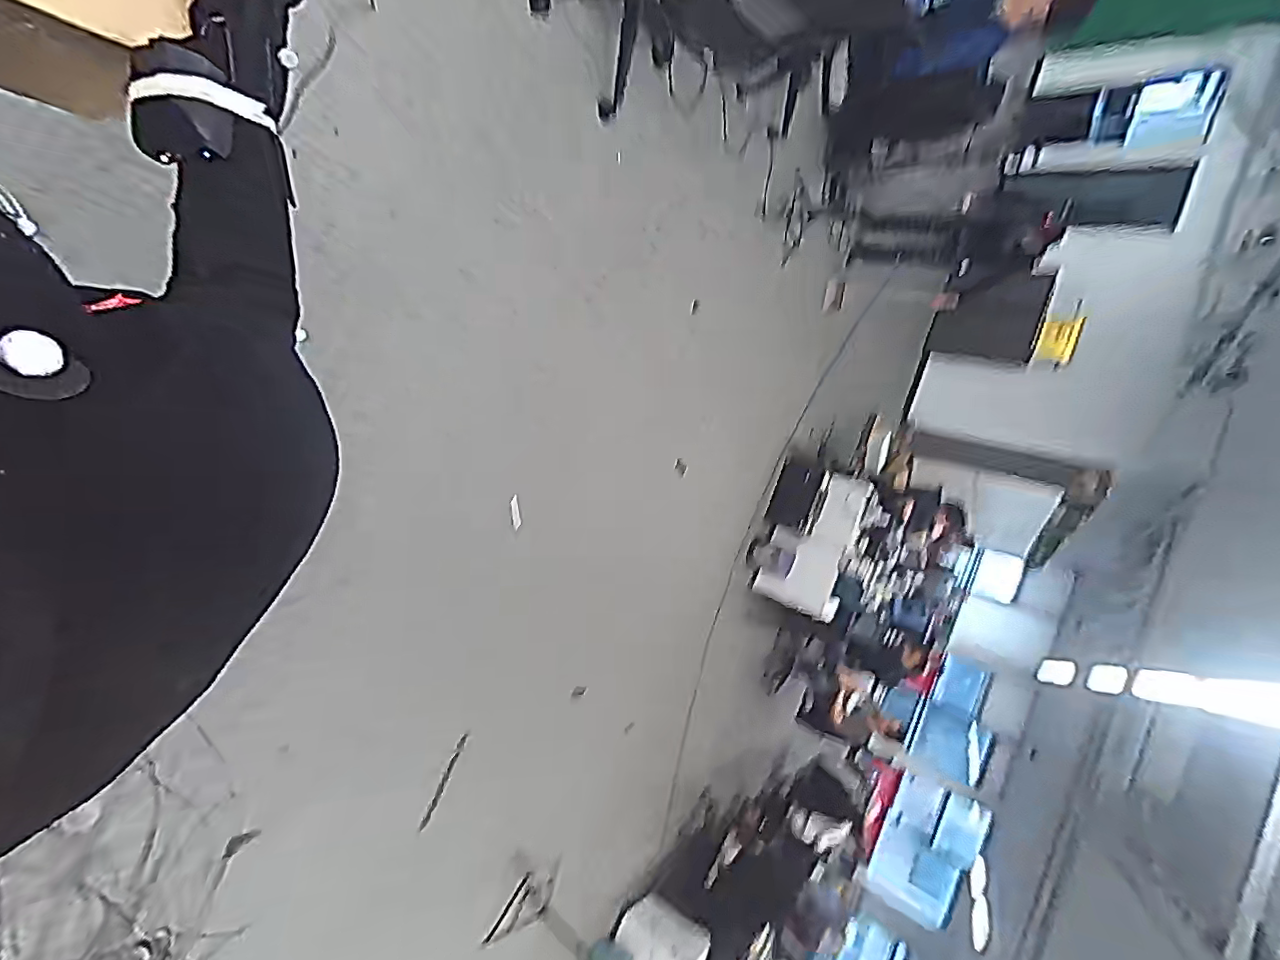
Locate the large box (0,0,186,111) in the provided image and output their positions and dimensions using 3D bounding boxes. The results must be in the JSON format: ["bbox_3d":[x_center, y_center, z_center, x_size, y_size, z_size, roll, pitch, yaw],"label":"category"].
[{"bbox_3d":[-0.550,-0.471,0.292,0.408,0.320,0.320,-8,112,-53],"label":"large box"}]
